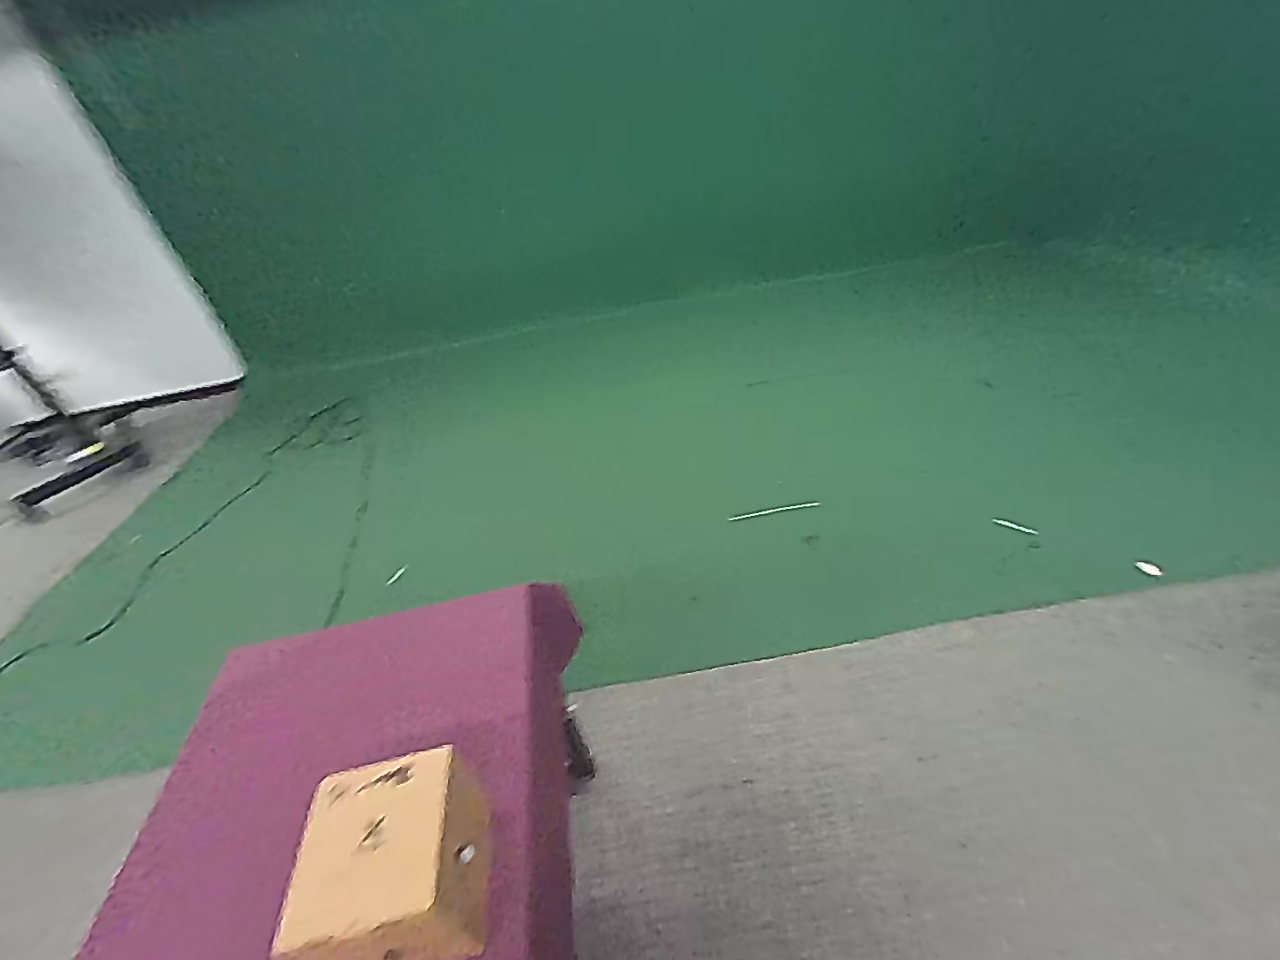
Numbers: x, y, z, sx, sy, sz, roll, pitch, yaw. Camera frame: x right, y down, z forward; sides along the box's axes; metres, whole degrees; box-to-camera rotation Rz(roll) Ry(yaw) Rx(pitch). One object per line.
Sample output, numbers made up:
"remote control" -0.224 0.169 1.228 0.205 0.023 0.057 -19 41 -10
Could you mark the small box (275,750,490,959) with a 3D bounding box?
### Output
"small box" -0.291 0.471 0.661 0.168 0.176 0.179 -14 38 -3
